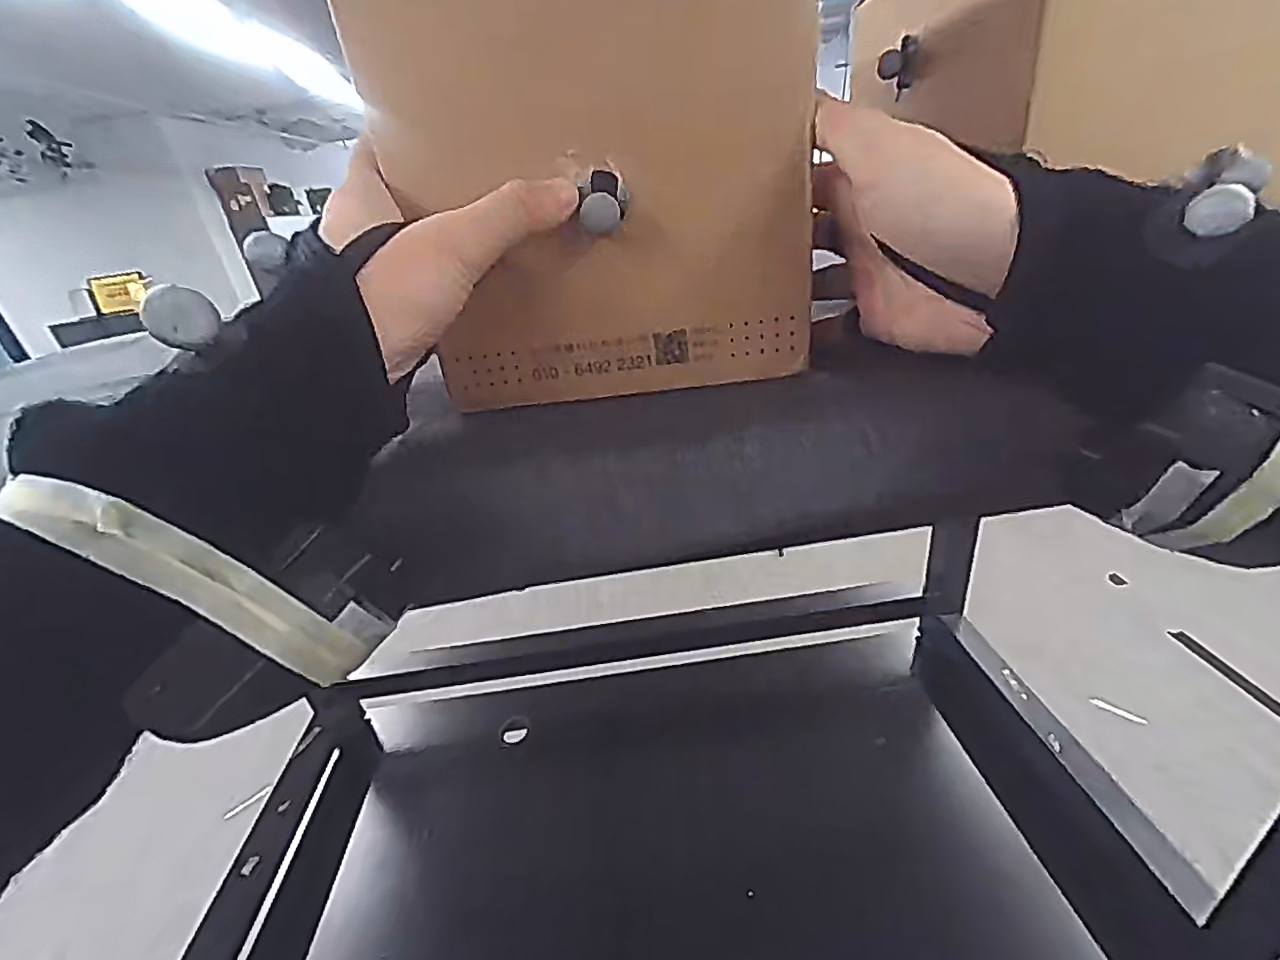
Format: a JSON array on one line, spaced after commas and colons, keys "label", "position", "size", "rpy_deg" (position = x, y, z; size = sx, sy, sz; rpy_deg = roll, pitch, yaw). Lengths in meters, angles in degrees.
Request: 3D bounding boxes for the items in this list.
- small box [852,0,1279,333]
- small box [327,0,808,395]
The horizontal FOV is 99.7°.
[{"label": "small box", "position": [0.223, -0.182, 0.283], "size": [0.168, 0.176, 0.179], "rpy_deg": [-9, 27, 1]}, {"label": "small box", "position": [-0.012, -0.148, 0.281], "size": [0.168, 0.176, 0.179], "rpy_deg": [-5, 29, 4]}]
